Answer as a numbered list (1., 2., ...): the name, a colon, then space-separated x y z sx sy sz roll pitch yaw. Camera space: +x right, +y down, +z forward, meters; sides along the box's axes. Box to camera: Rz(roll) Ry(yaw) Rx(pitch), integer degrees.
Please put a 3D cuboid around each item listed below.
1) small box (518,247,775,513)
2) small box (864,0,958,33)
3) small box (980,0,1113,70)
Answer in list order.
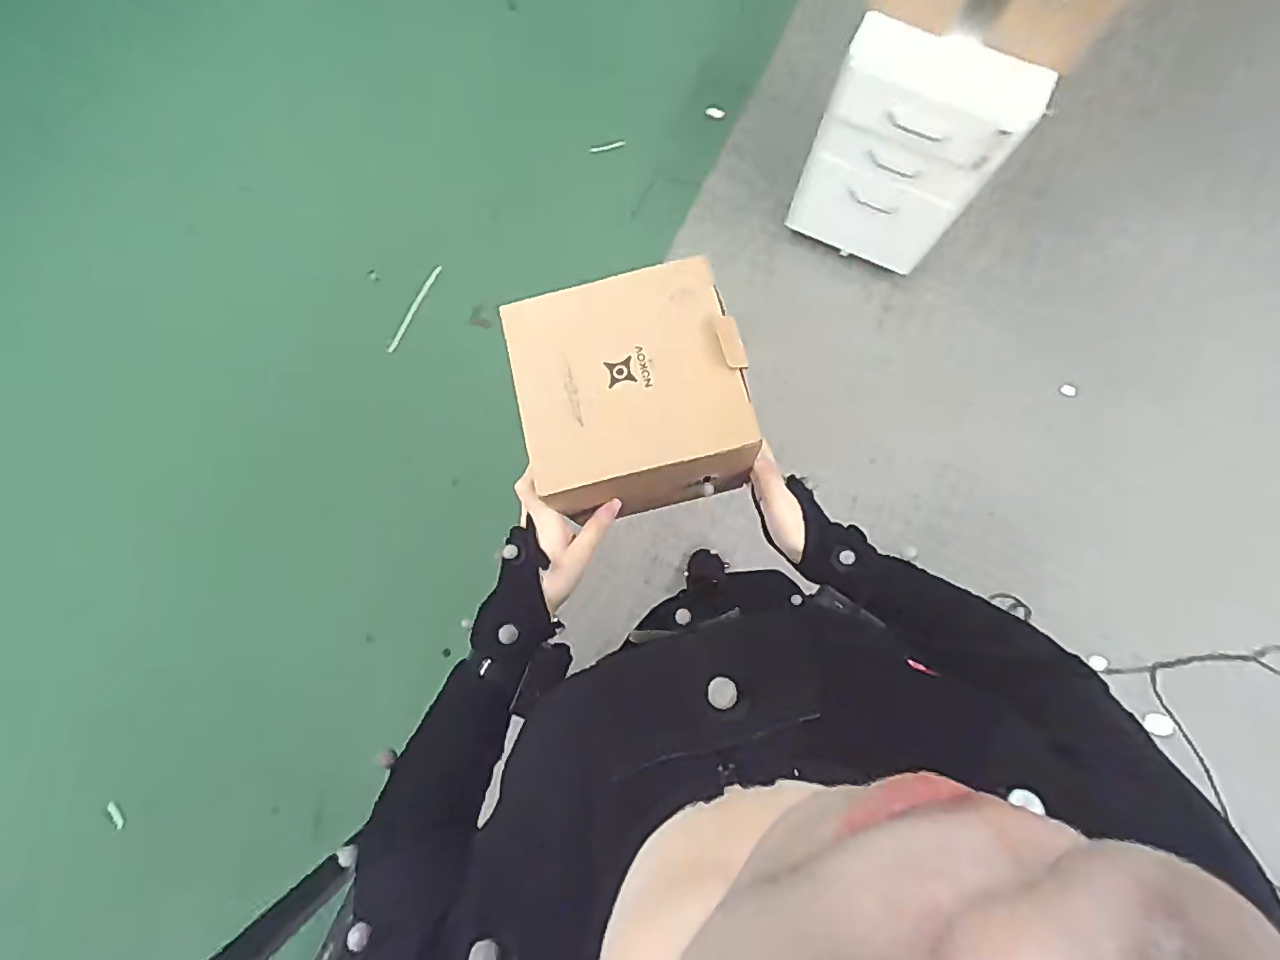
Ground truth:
1. small box: 0.006 -0.076 0.500 0.179 0.176 0.168 -14 76 2
2. small box: 0.571 -1.034 1.055 0.179 0.176 0.168 26 82 5
3. small box: 0.799 -0.940 1.033 0.179 0.176 0.168 26 81 6
